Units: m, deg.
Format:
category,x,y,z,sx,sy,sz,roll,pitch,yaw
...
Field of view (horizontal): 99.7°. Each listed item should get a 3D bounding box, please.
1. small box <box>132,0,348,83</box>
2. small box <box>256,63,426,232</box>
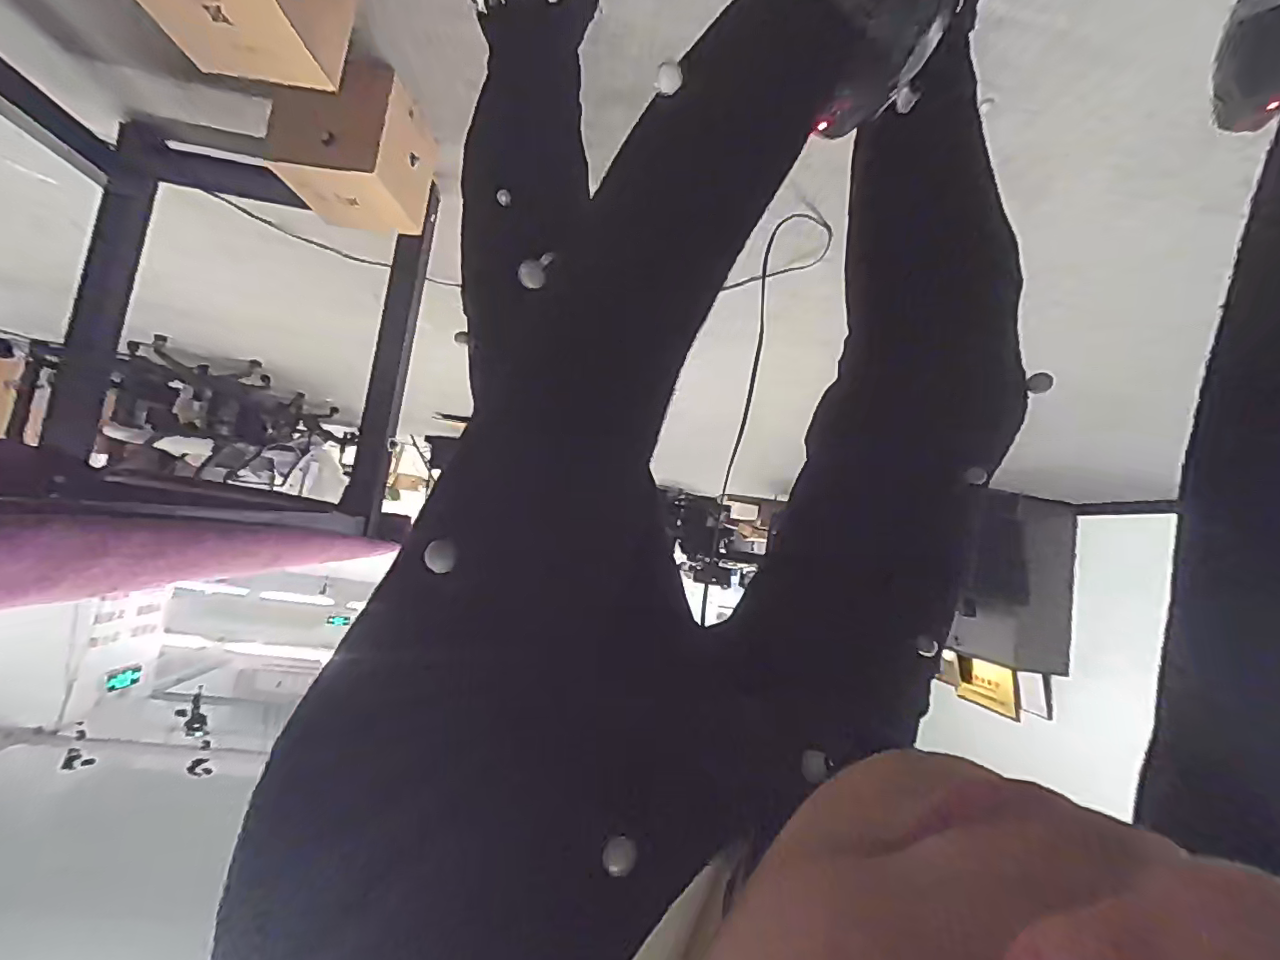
category,x,y,z,sx,sy,sz,roll,pitch,yaw
small box,-0.418,-0.553,0.540,0.168,0.176,0.179,9,174,0
small box,-0.454,-0.523,0.854,0.179,0.176,0.168,8,174,1
